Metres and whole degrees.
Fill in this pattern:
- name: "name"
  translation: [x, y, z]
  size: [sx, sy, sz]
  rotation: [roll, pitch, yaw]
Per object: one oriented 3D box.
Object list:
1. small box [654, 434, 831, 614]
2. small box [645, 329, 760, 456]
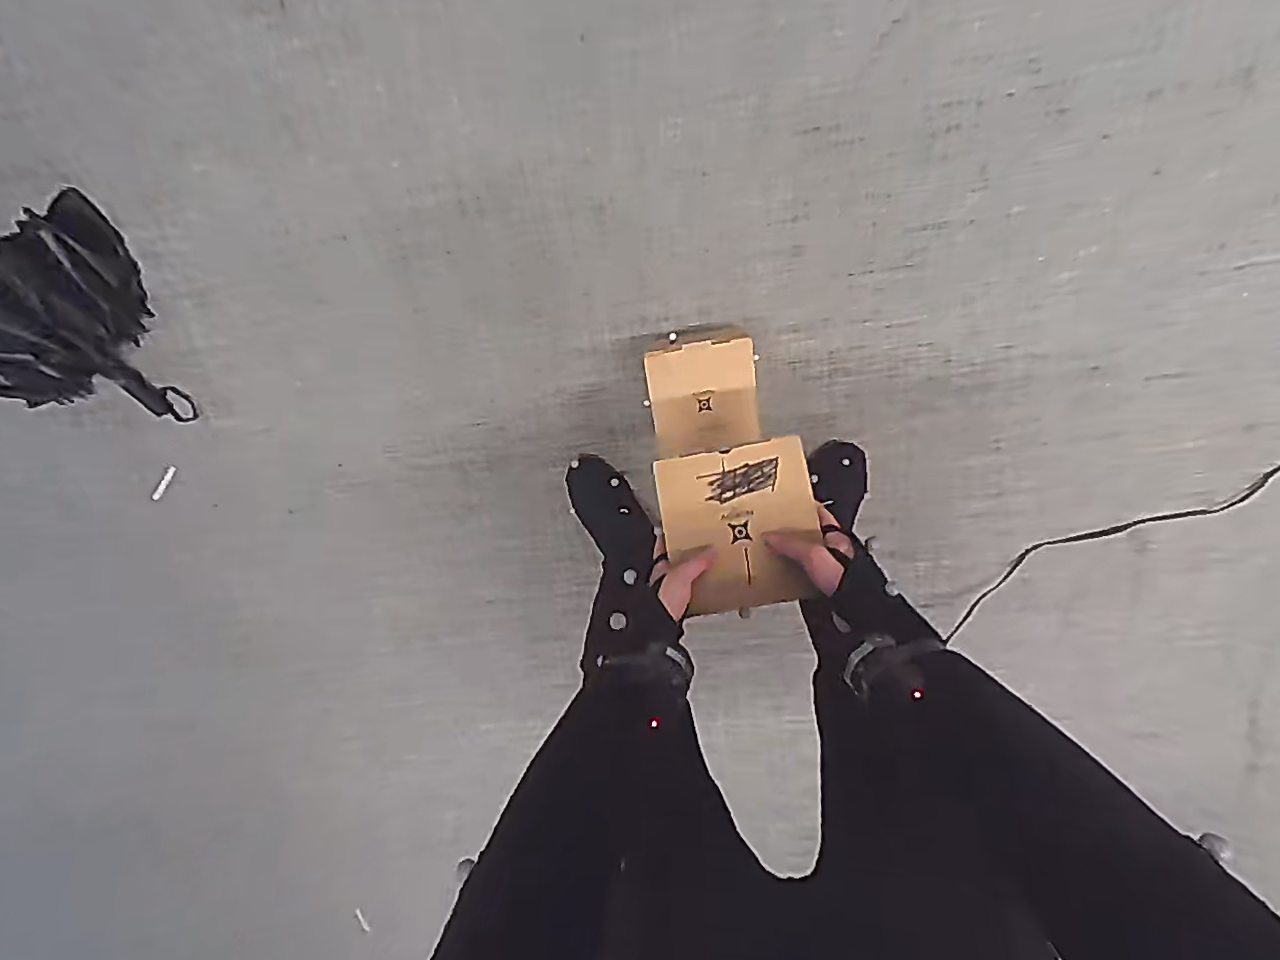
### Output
- name: "small box"
  translation: [0.114, 0.060, 0.656]
  size: [0.168, 0.176, 0.179]
  rotation: [-10, 79, 5]
- name: "small box"
  translation: [0.103, -0.151, 0.905]
  size: [0.168, 0.176, 0.179]
  rotation: [-7, 112, 8]
